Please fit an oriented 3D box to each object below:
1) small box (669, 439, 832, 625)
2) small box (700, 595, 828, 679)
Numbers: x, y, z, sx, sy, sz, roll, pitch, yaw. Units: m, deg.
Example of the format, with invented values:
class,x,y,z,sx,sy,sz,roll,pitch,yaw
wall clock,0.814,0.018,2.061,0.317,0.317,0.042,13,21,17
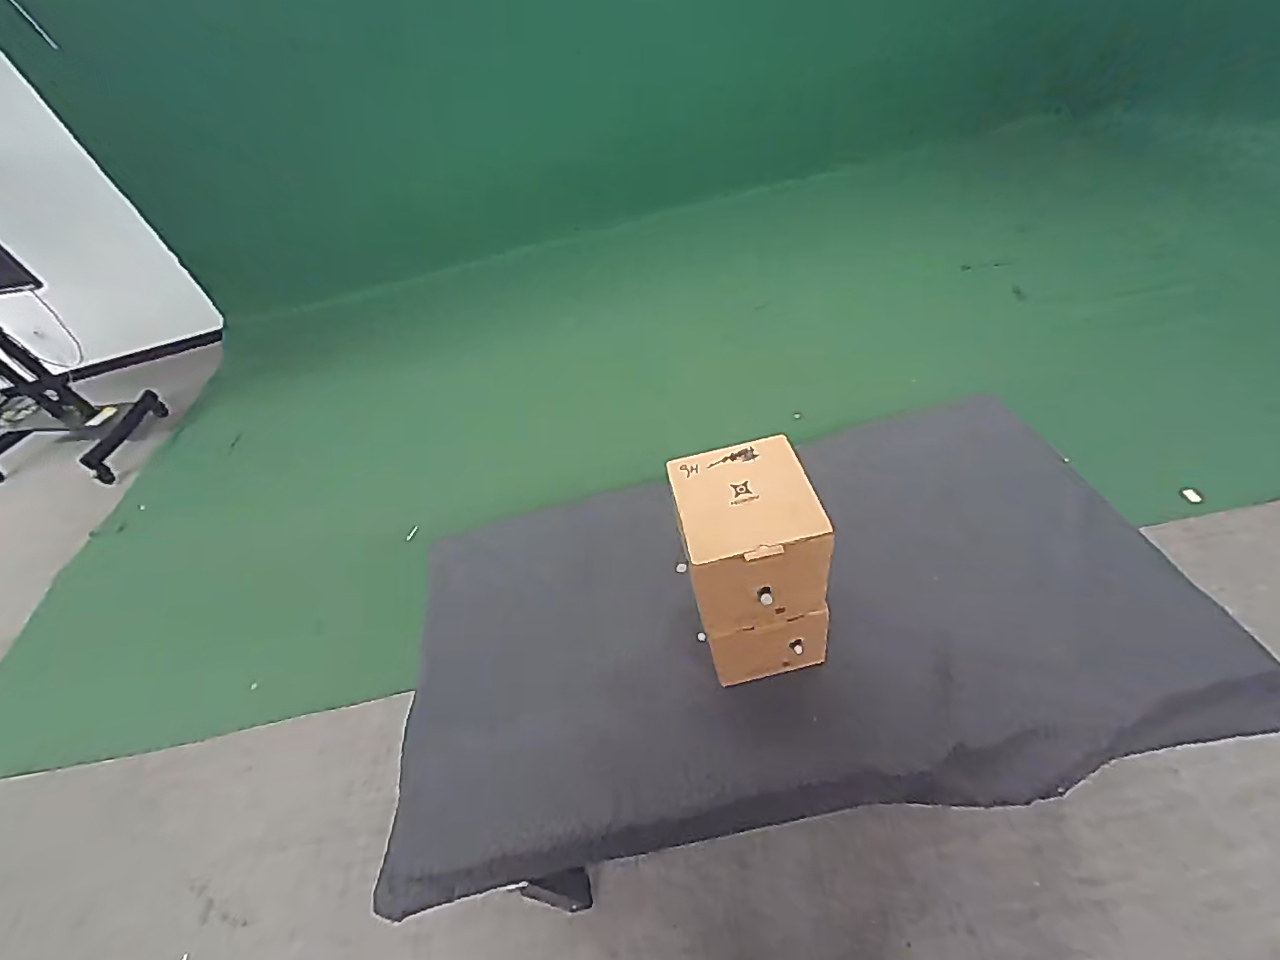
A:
class,x,y,z,sx,sy,sz,roll,pitch,yaw
small box,0.143,0.077,0.726,0.168,0.176,0.179,-13,47,1
small box,0.177,0.190,0.840,0.168,0.176,0.179,-14,45,0
